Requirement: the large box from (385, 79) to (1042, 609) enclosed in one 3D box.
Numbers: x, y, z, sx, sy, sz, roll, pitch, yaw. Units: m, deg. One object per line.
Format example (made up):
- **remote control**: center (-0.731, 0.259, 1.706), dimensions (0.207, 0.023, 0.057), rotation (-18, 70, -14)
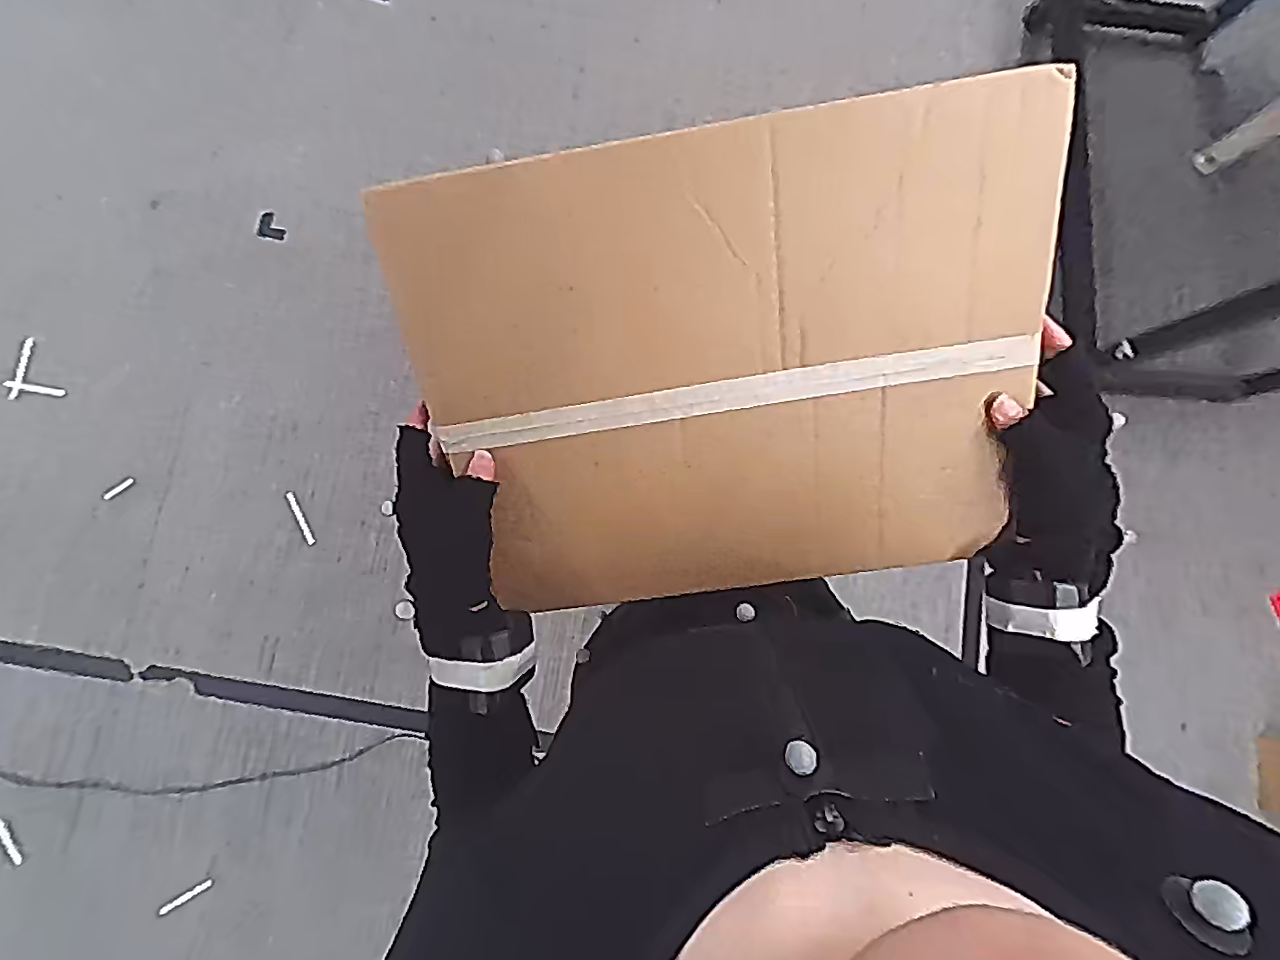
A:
- **large box**: center (0.058, -0.118, 0.514), dimensions (0.408, 0.320, 0.320), rotation (-8, 114, 3)
